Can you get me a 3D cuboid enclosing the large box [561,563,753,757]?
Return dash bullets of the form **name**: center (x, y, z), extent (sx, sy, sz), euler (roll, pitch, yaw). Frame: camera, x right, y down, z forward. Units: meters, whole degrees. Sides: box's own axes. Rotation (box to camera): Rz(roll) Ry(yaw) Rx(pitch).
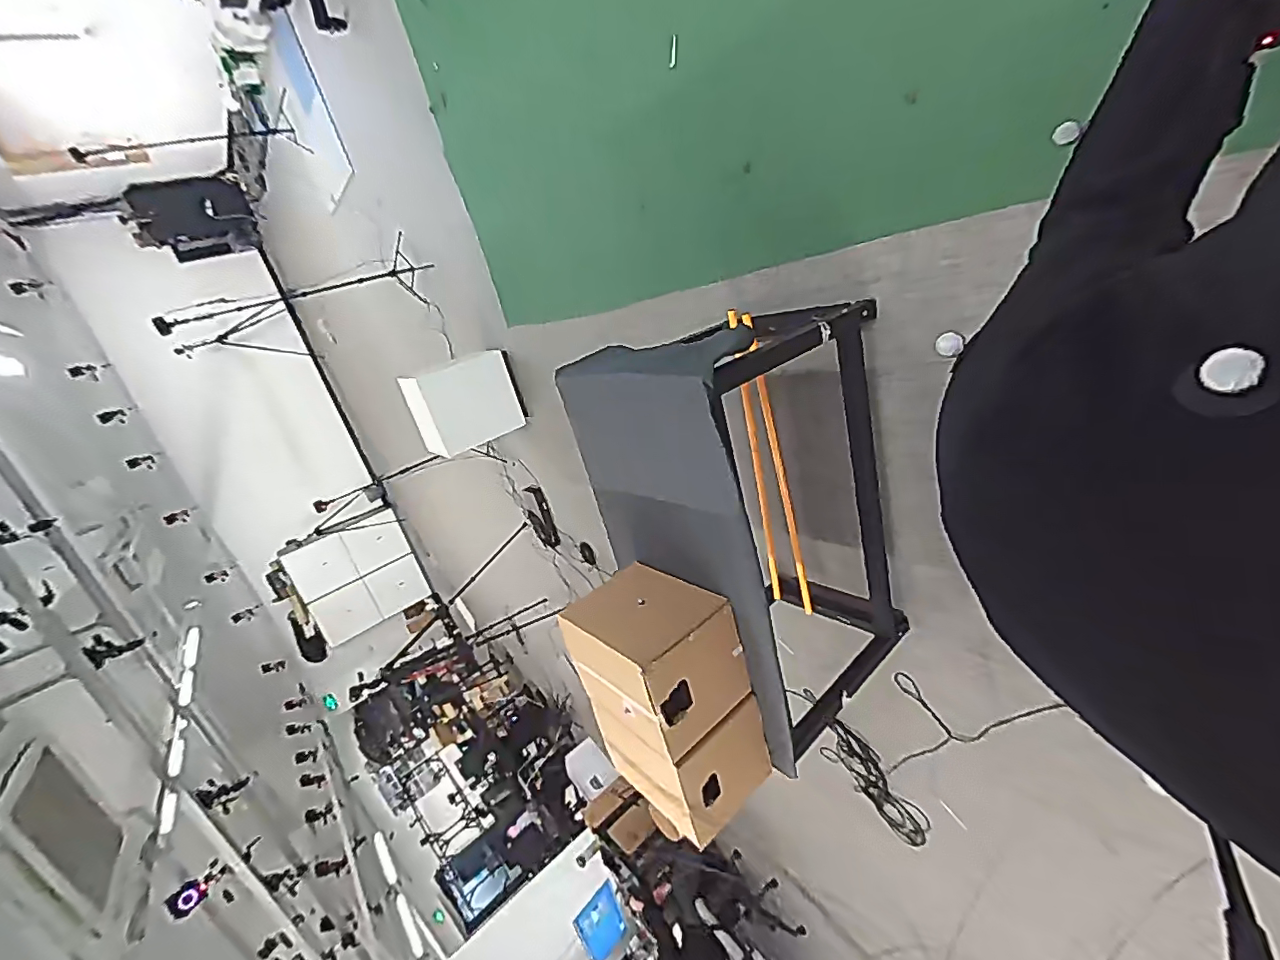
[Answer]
- **large box**: center (0.044, 0.470, 1.516), extent (0.408, 0.320, 0.320), euler (10, 123, 51)
